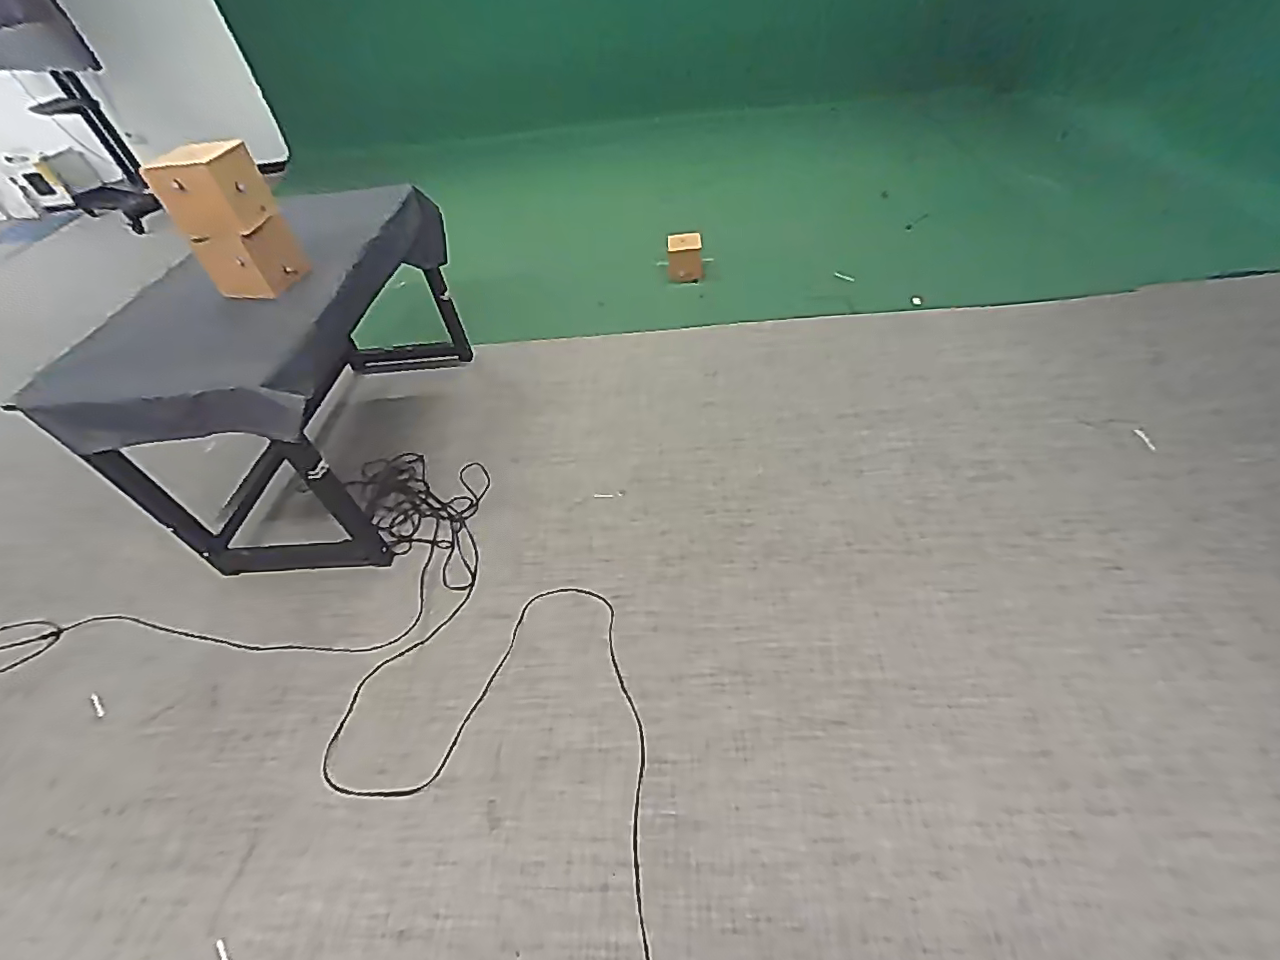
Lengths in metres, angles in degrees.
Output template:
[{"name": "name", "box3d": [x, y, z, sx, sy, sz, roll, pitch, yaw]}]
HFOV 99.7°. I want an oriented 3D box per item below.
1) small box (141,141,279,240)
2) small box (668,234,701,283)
[{"name": "small box", "box3d": [-1.058, -0.722, 1.352, 0.179, 0.176, 0.168, -2, 48, 6]}, {"name": "small box", "box3d": [0.228, -1.139, 2.782, 0.168, 0.176, 0.179, -4, 48, 5]}]
